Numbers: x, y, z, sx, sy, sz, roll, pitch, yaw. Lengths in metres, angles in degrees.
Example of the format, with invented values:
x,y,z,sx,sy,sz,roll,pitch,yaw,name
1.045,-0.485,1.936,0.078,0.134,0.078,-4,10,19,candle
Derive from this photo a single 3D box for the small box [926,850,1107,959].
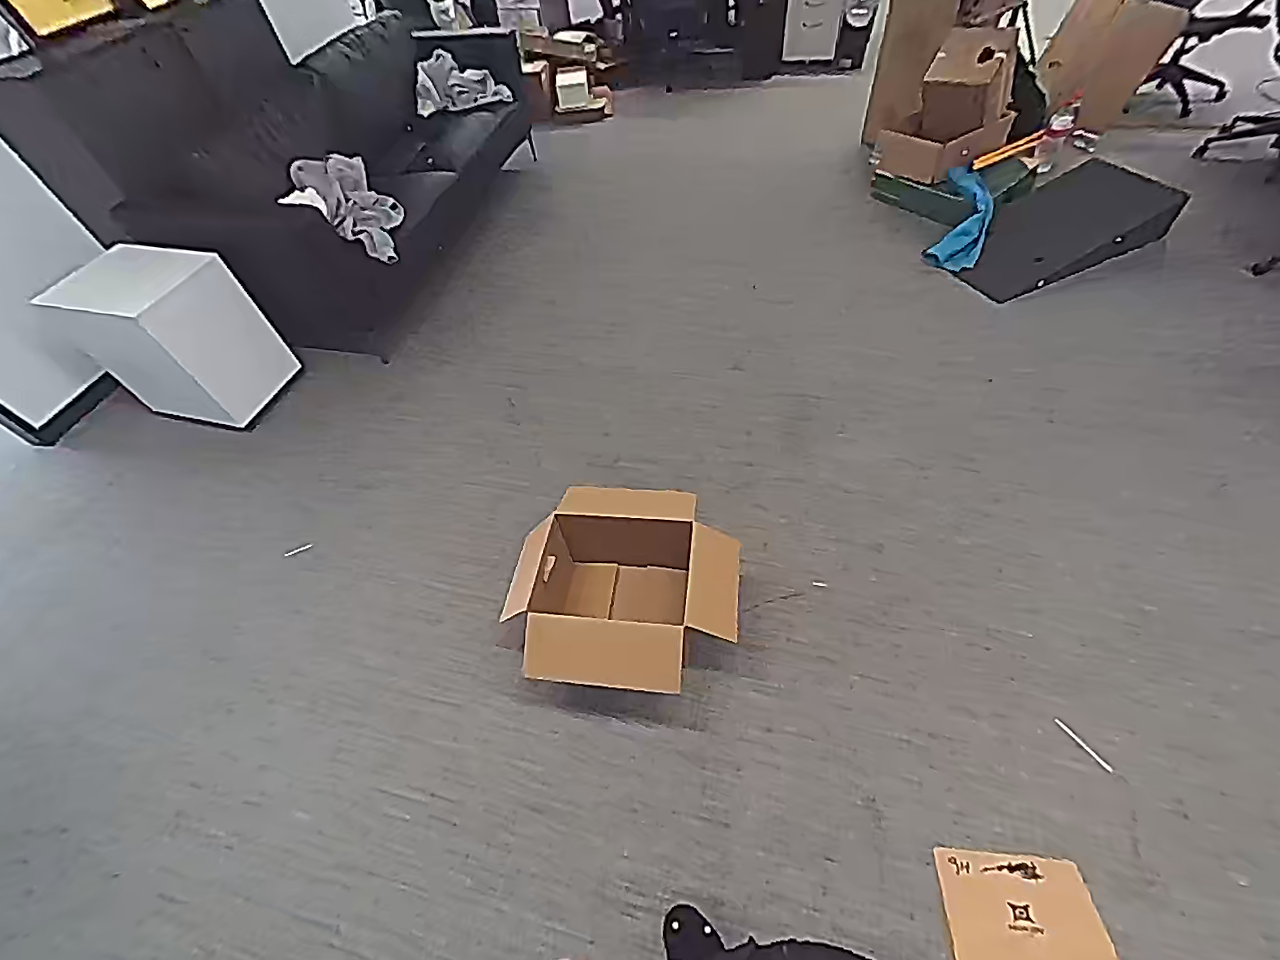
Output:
x,y,z,sx,sy,sz,roll,pitch,yaw,name
0.460,0.599,0.655,0.168,0.176,0.179,-9,14,21,small box
